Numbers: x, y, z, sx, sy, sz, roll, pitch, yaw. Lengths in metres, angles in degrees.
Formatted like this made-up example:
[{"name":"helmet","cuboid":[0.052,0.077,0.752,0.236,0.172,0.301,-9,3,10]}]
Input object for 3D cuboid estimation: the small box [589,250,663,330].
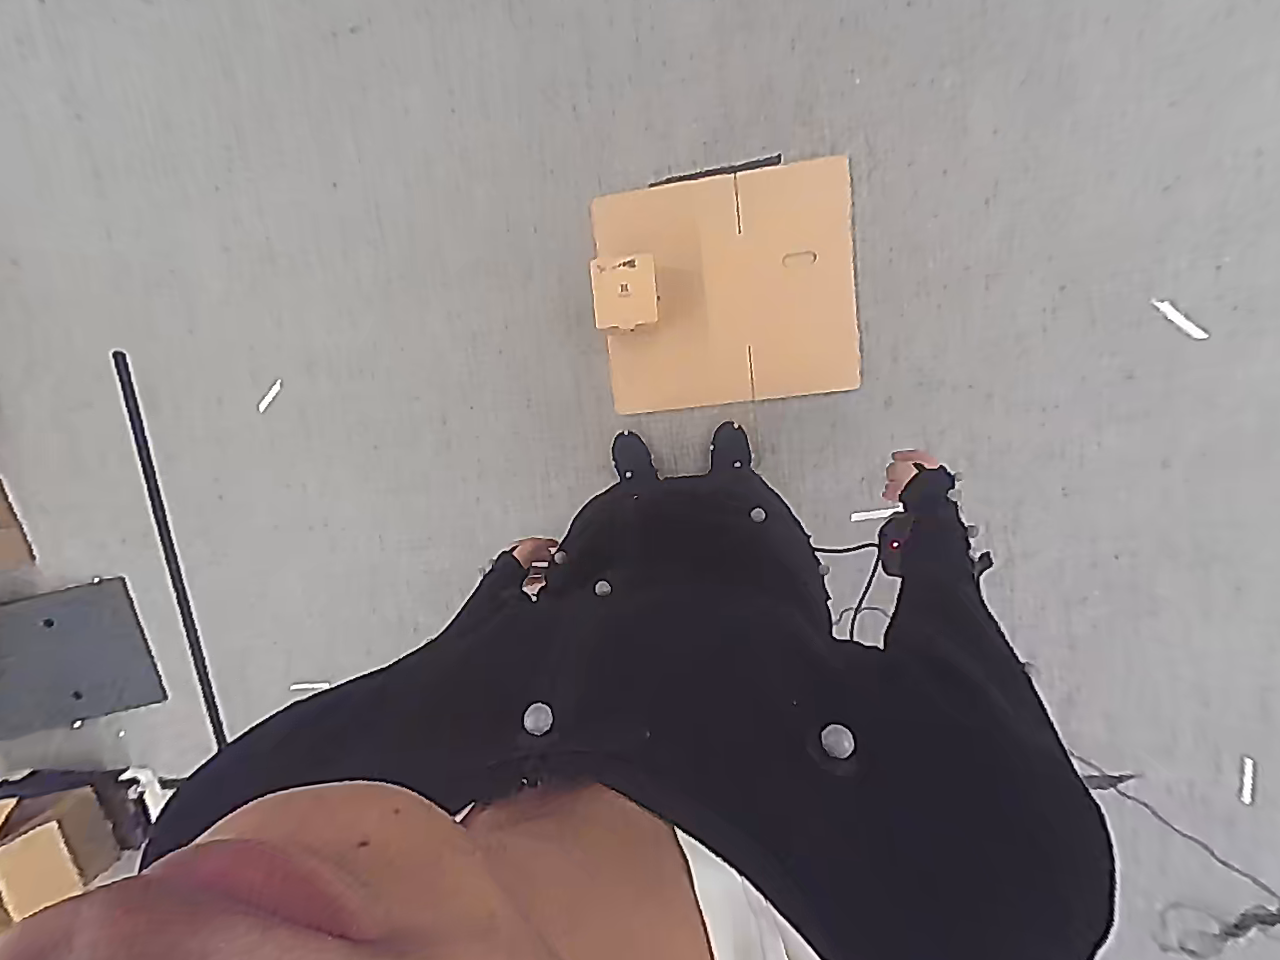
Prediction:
[{"name":"small box","cuboid":[-0.030,-0.499,1.443,0.168,0.176,0.179,-3,100,9]}]
